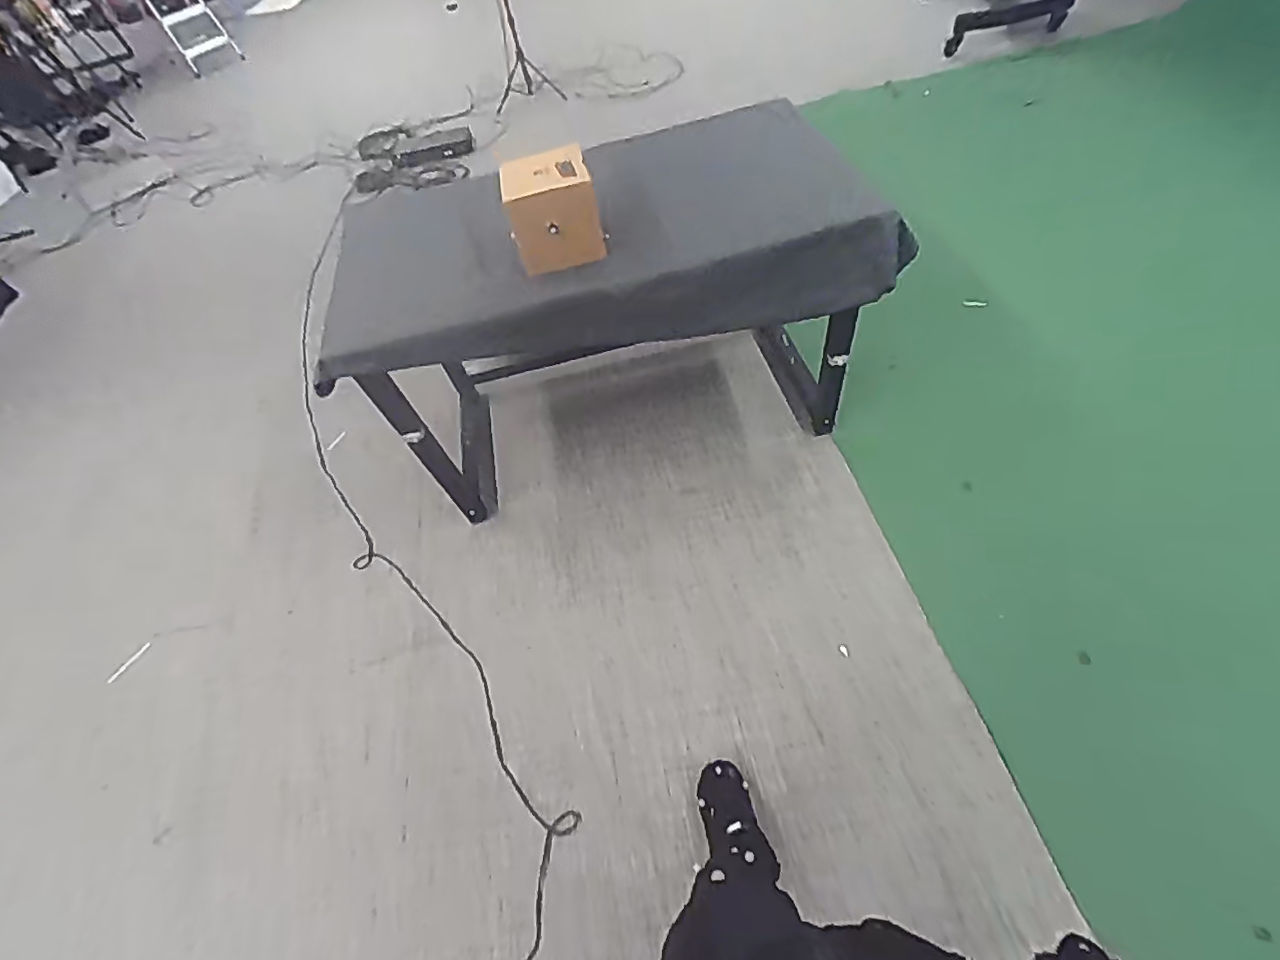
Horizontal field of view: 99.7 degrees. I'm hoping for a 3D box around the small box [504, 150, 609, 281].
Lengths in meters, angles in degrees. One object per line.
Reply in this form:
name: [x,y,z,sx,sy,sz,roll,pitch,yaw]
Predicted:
small box: [-0.169,-0.551,1.135,0.179,0.176,0.168,-16,55,-2]
